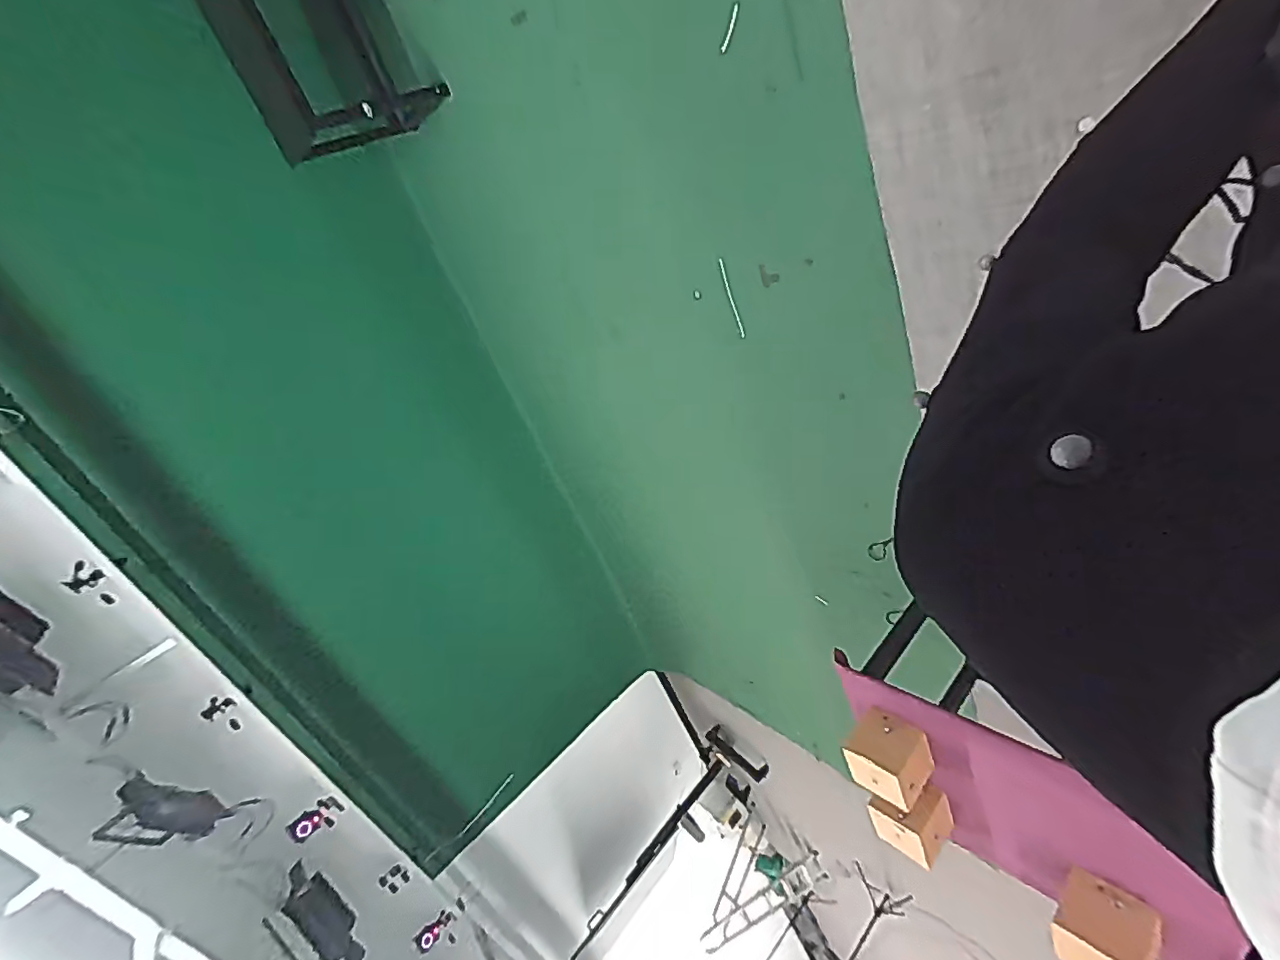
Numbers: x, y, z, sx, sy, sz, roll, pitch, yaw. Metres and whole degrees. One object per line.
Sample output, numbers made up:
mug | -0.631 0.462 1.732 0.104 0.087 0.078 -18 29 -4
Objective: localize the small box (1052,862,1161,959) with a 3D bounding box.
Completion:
small box | 1.132 1.090 1.310 0.168 0.176 0.179 11 131 52

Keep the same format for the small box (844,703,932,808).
small box | 0.729 0.798 1.579 0.168 0.176 0.179 10 132 51

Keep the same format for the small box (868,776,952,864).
small box | 0.845 1.028 1.681 0.168 0.176 0.179 9 130 53
